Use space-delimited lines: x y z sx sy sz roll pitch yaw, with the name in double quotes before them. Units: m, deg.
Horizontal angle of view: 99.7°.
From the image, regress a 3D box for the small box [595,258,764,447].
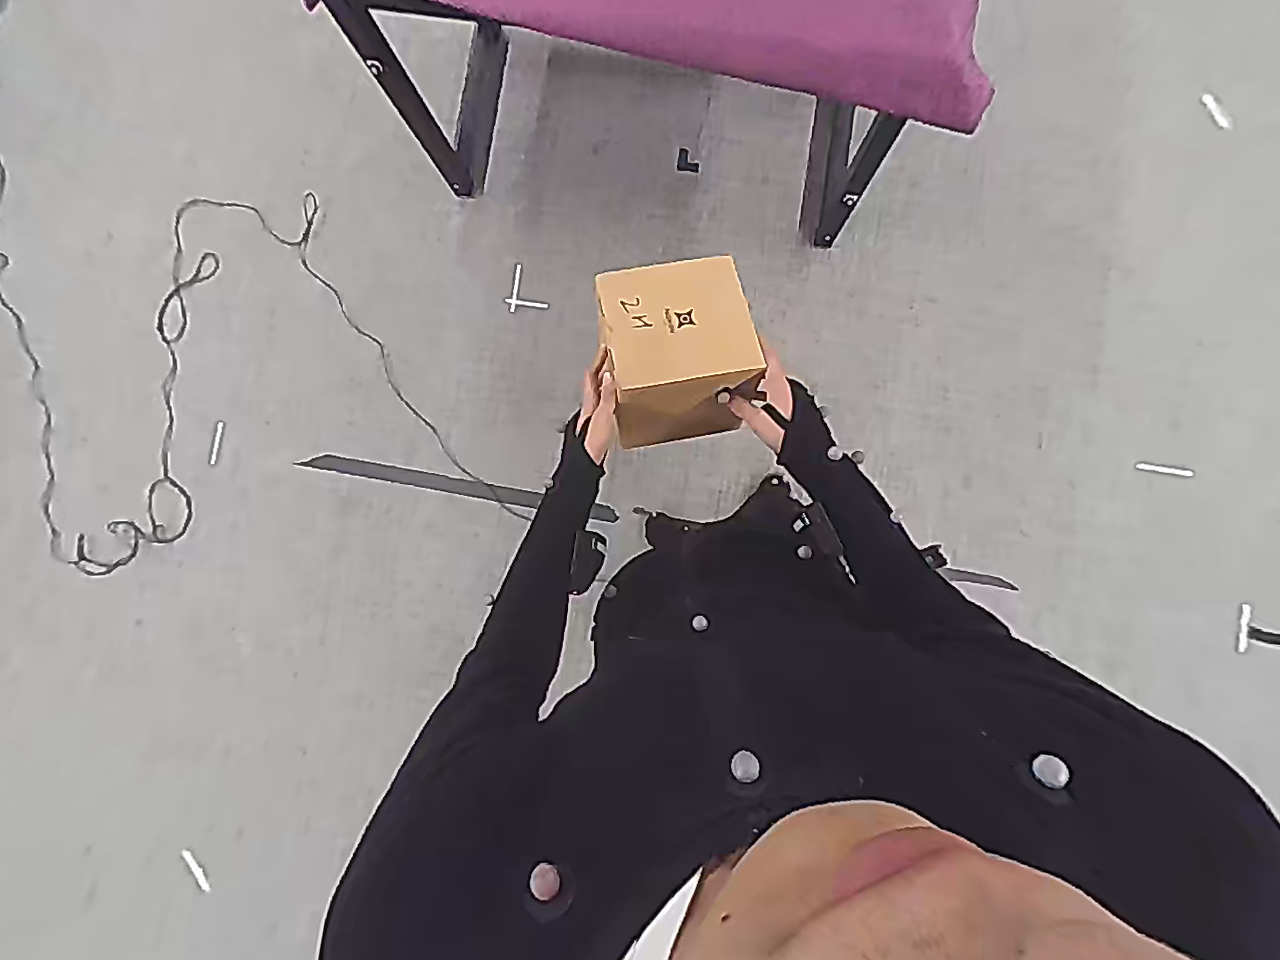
"small box" 0.041 -0.158 0.708 0.179 0.176 0.168 -10 69 -4
